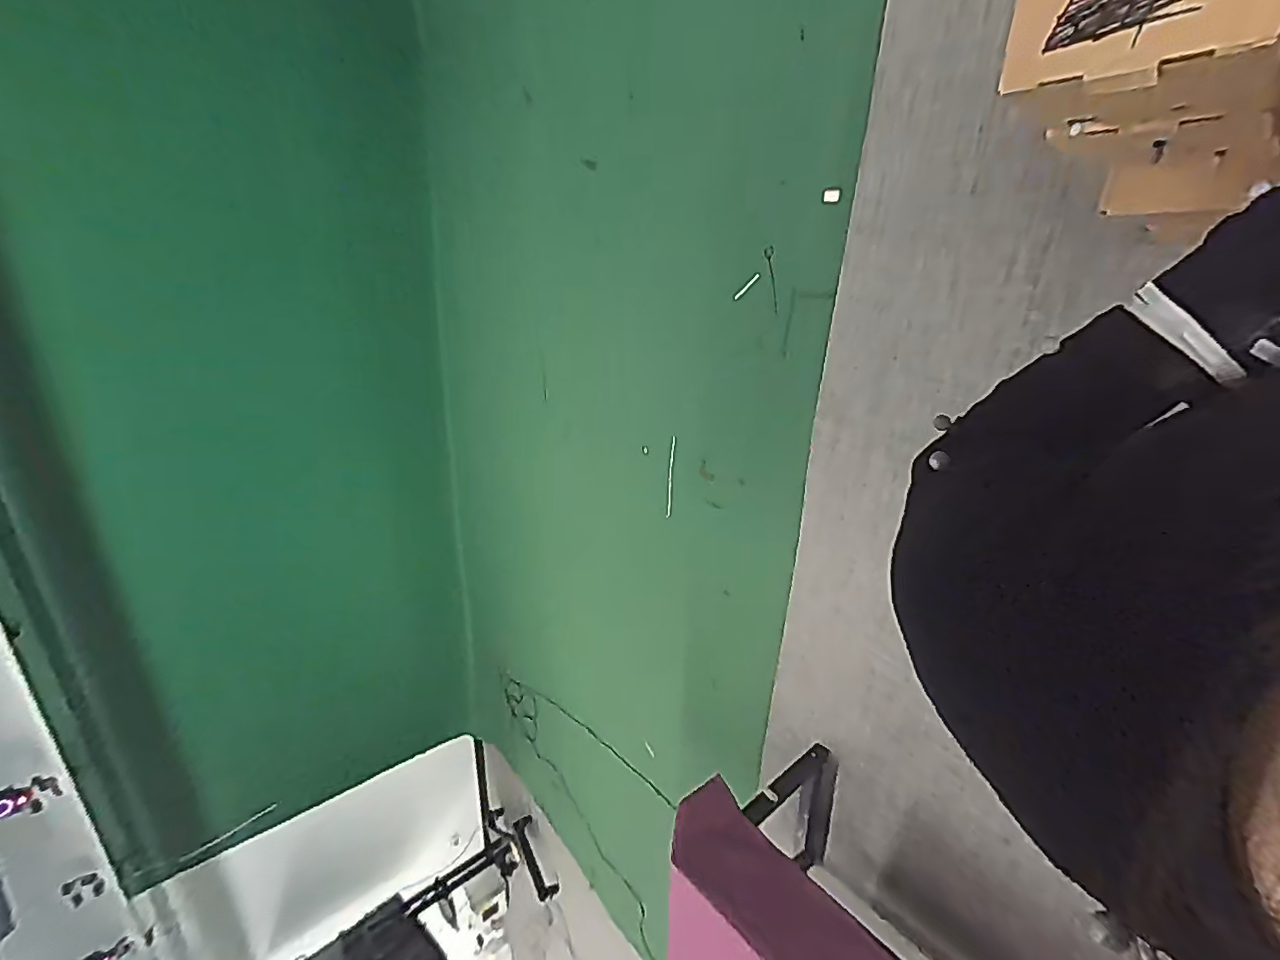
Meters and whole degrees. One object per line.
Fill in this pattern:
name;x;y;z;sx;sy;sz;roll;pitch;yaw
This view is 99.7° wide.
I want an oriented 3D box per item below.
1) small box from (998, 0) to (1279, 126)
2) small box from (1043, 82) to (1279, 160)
small box;0.423;-0.403;0.430;0.168;0.176;0.179;22;118;43
small box;0.543;-0.431;0.538;0.168;0.176;0.179;23;120;43
